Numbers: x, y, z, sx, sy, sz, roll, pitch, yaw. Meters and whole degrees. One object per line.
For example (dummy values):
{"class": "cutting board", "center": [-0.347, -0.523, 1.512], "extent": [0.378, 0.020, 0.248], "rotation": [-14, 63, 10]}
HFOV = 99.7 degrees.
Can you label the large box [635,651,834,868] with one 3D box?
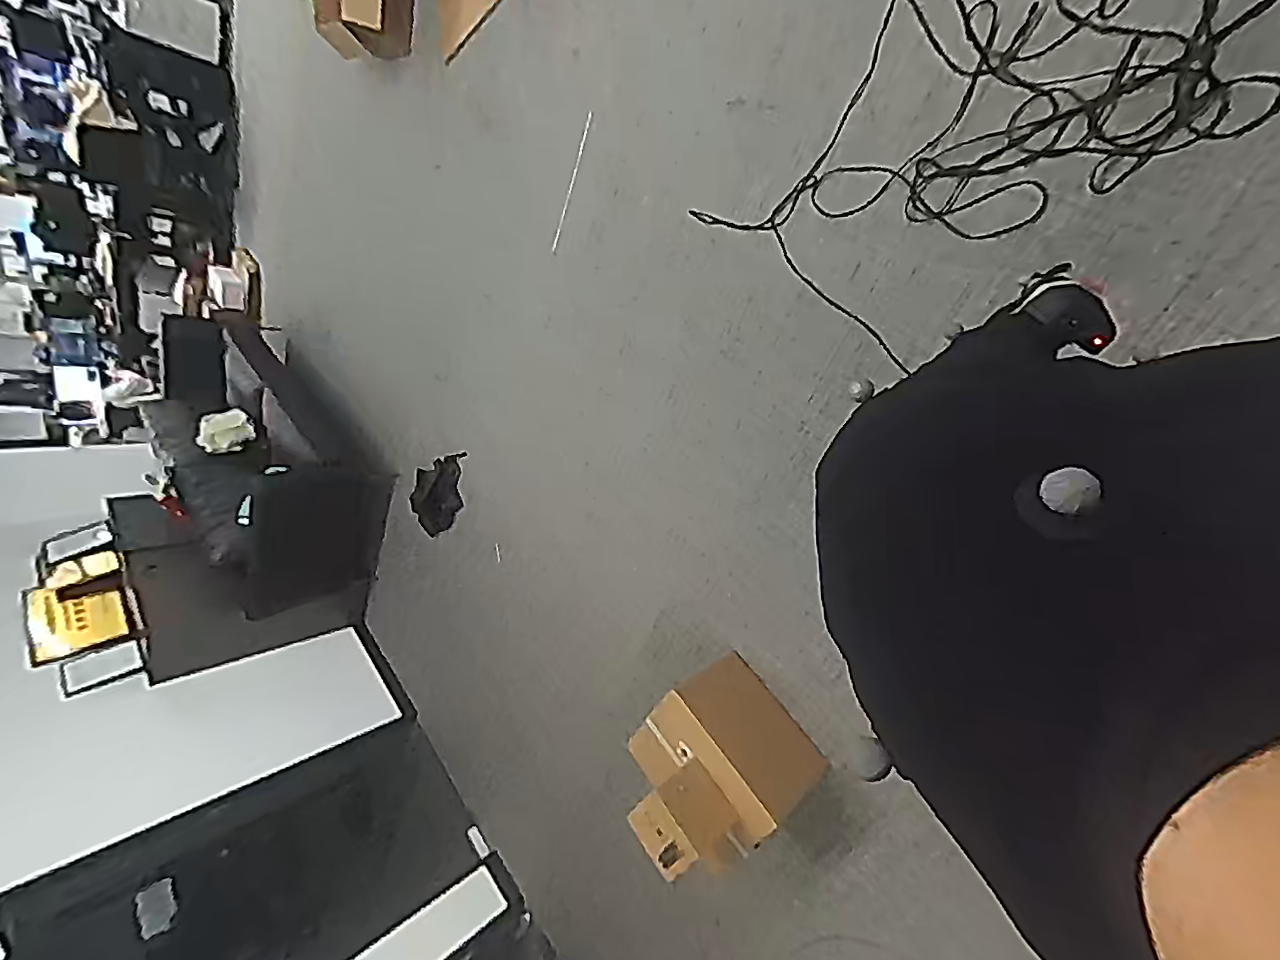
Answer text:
{"class": "large box", "center": [0.266, 0.785, 1.565], "extent": [0.408, 0.320, 0.320], "rotation": [48, 124, 28]}
